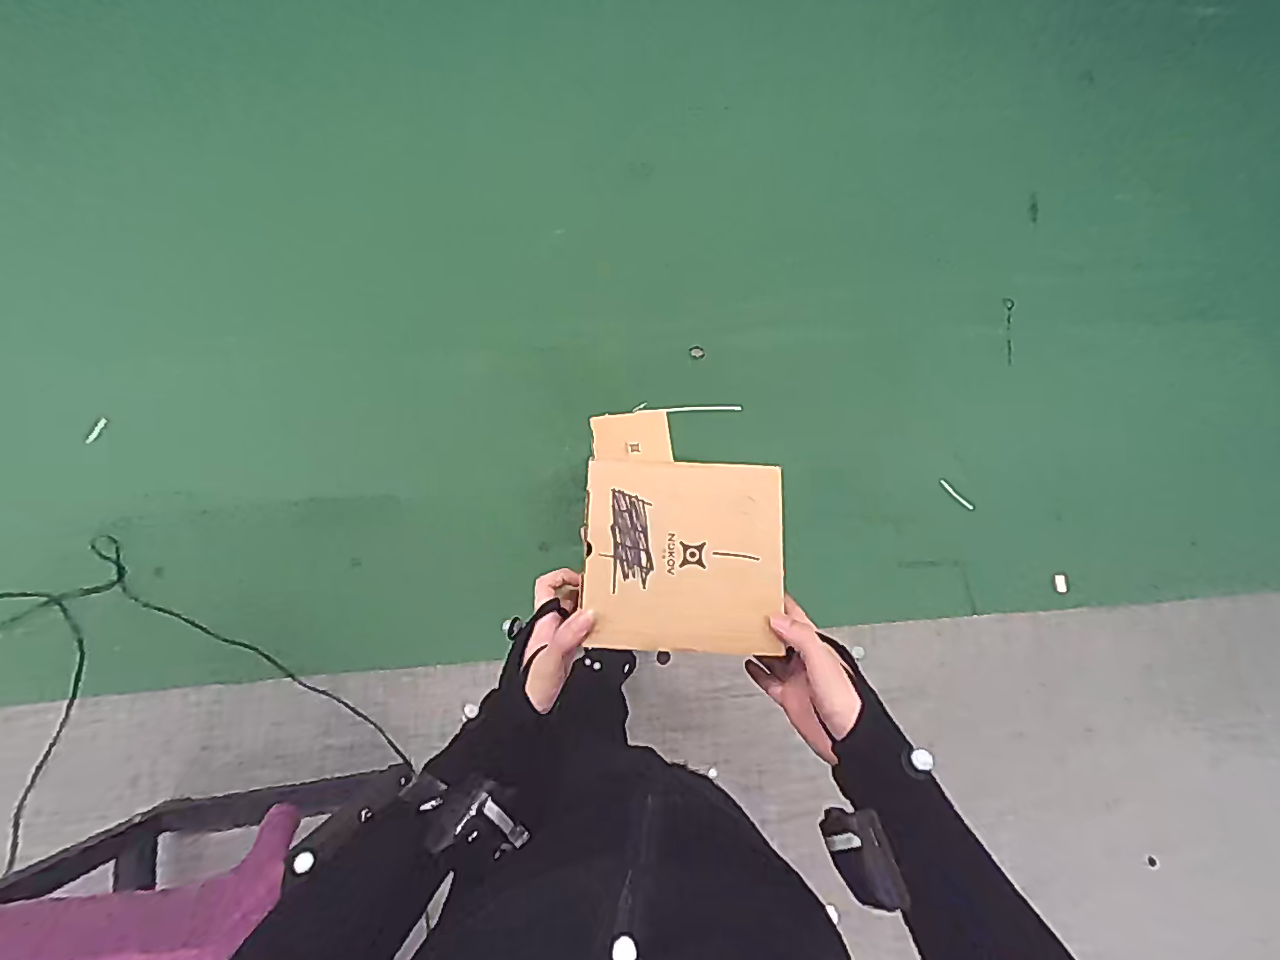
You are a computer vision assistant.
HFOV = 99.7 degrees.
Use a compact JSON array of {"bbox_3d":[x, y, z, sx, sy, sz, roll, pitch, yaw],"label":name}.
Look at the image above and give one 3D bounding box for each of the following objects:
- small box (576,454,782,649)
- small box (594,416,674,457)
[{"bbox_3d":[0.037,0.079,0.549,0.179,0.176,0.168,3,76,1],"label":"small box"},{"bbox_3d":[-0.015,-0.042,1.284,0.179,0.176,0.168,-7,78,-4],"label":"small box"}]
